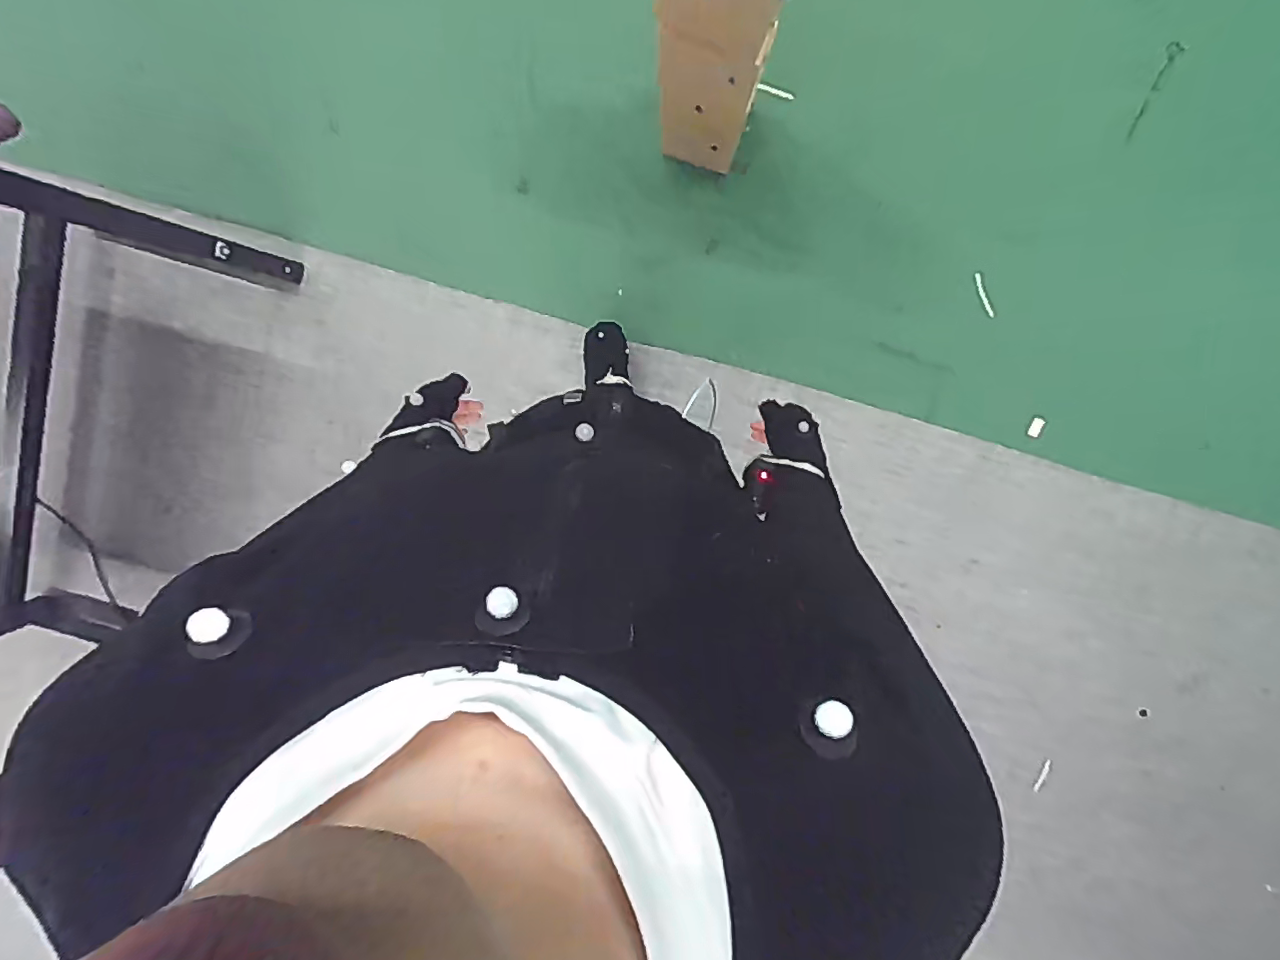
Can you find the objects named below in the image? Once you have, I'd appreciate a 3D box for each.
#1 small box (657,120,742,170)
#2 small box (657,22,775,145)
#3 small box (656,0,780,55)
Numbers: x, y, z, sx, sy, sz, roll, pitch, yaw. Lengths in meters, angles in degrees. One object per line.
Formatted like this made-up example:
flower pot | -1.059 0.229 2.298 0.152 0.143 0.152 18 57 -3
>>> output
small box | 0.145 -0.837 1.232 0.179 0.176 0.168 18 100 -3
small box | 0.141 -0.800 1.073 0.179 0.176 0.168 18 101 -2
small box | 0.126 -0.743 0.750 0.179 0.176 0.168 20 100 -2
